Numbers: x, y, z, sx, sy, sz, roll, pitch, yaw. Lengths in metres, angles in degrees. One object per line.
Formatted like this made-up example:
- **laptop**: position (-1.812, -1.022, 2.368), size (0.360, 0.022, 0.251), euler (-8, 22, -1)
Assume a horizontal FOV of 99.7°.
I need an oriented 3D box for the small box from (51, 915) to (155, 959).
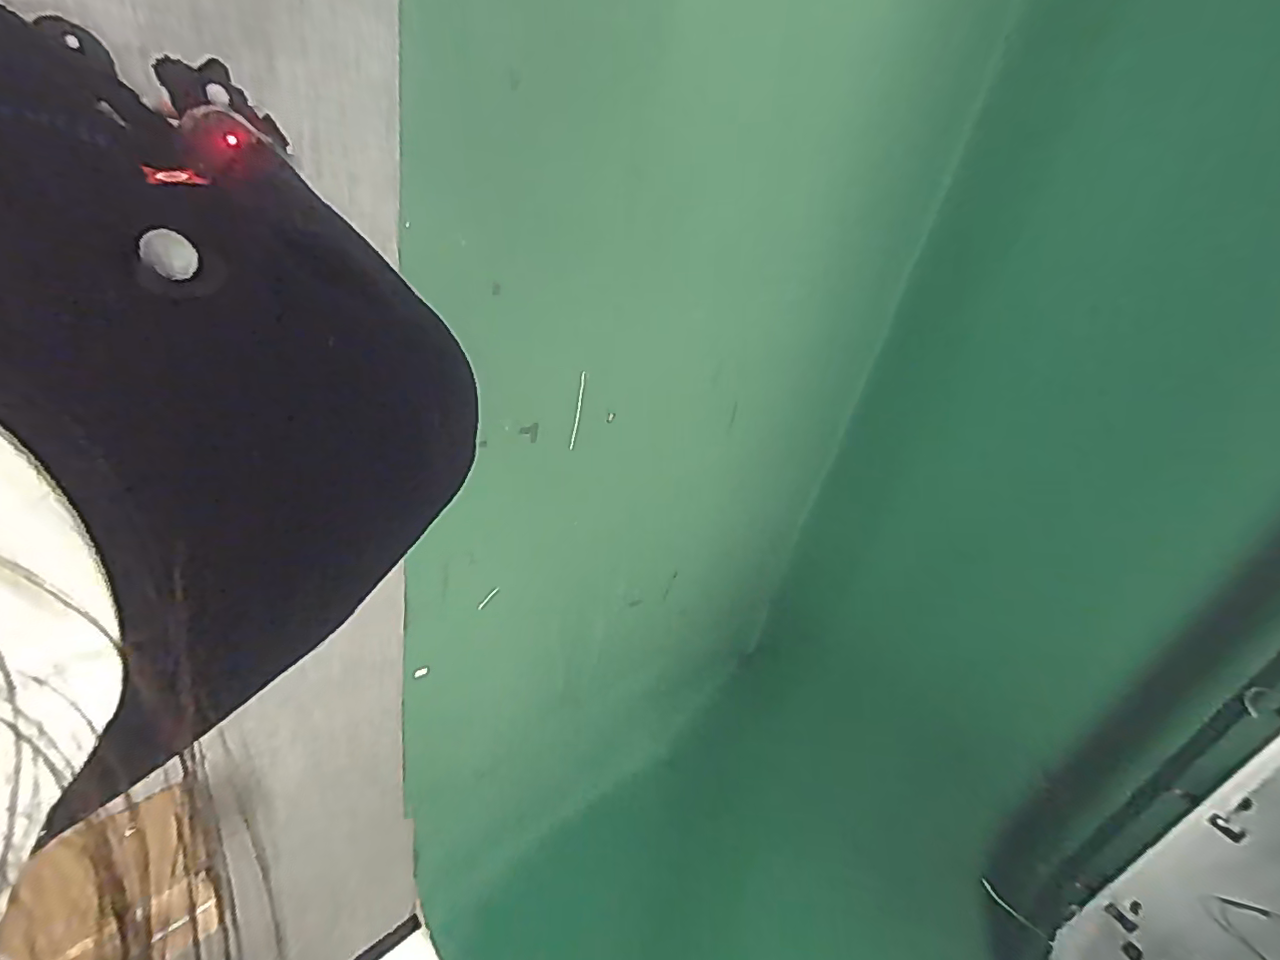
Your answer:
- **small box**: position (-1.300, 1.215, 1.304), size (0.179, 0.176, 0.168), euler (-19, 130, -40)
